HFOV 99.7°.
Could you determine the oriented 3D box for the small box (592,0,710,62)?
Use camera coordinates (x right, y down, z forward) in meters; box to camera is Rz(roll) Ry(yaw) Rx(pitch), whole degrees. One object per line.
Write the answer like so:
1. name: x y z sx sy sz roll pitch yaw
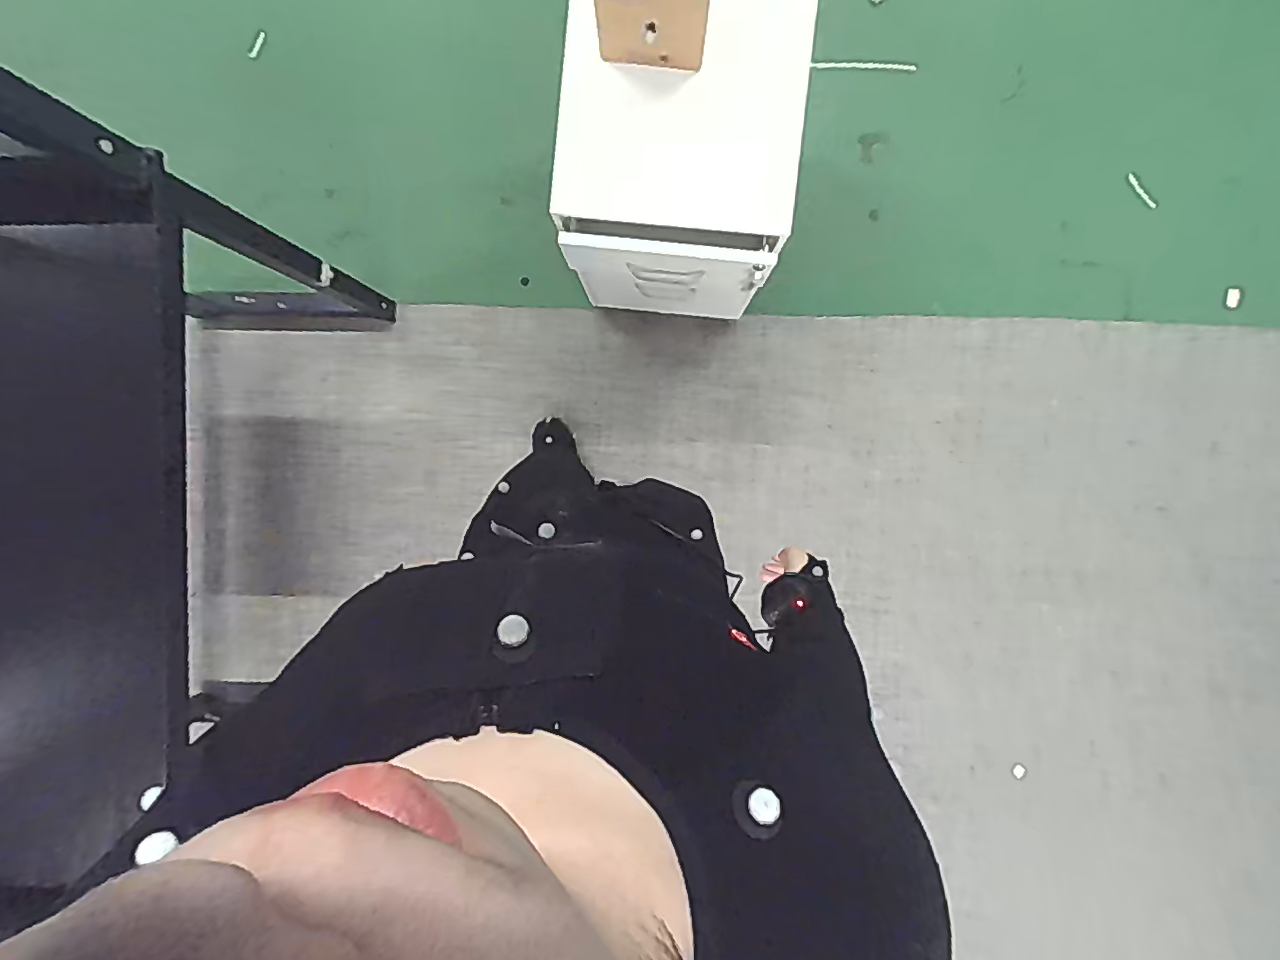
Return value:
1. small box: 0.023 -0.744 0.770 0.168 0.176 0.179 7 94 1
